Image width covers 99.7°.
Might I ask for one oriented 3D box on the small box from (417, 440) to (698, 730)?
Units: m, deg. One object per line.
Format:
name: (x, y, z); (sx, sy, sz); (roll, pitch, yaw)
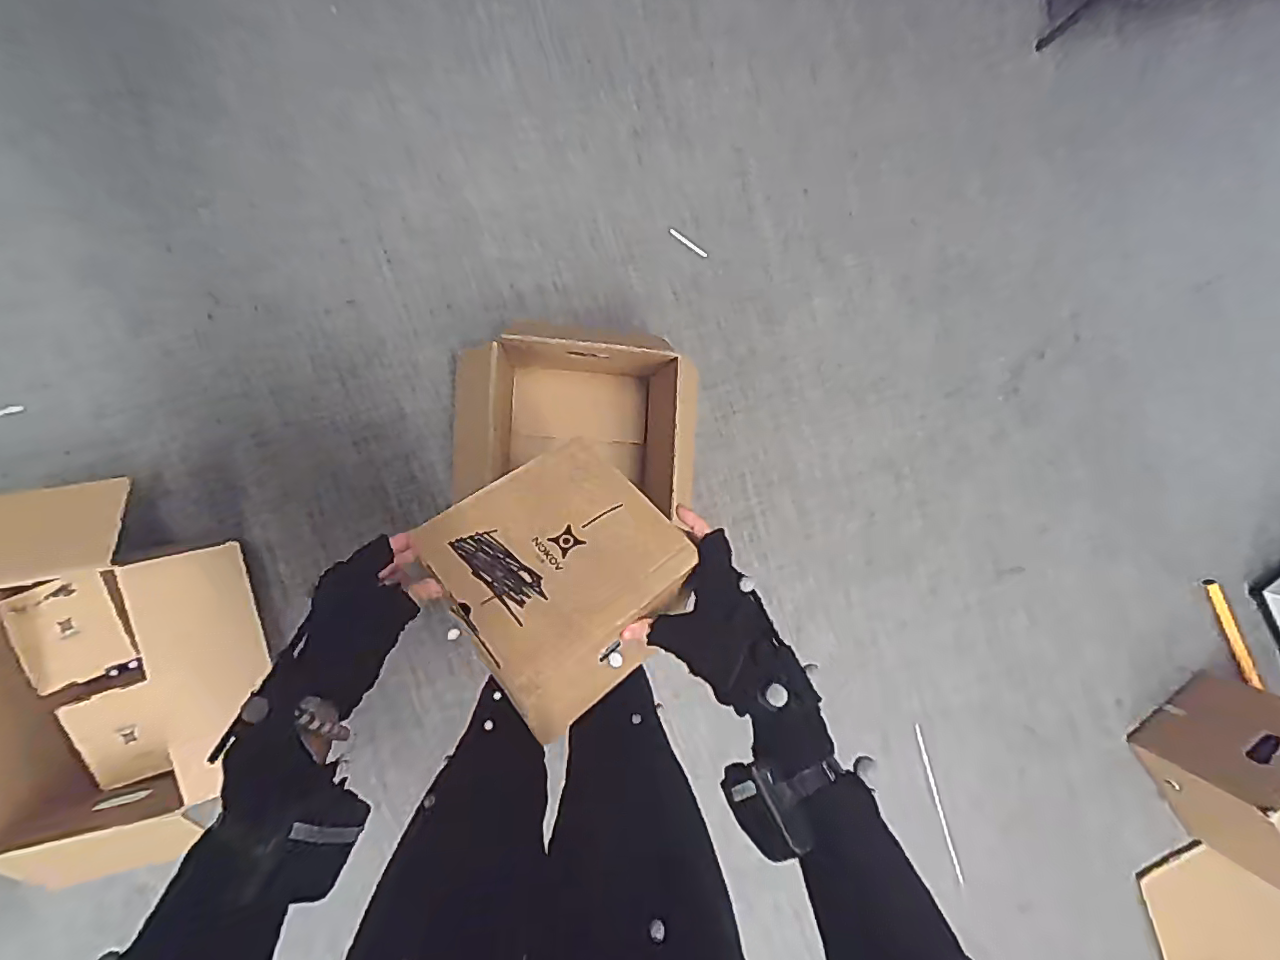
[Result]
small box: (-0.071, 0.103, 0.507); (0.179, 0.176, 0.168); (-34, 66, -25)
